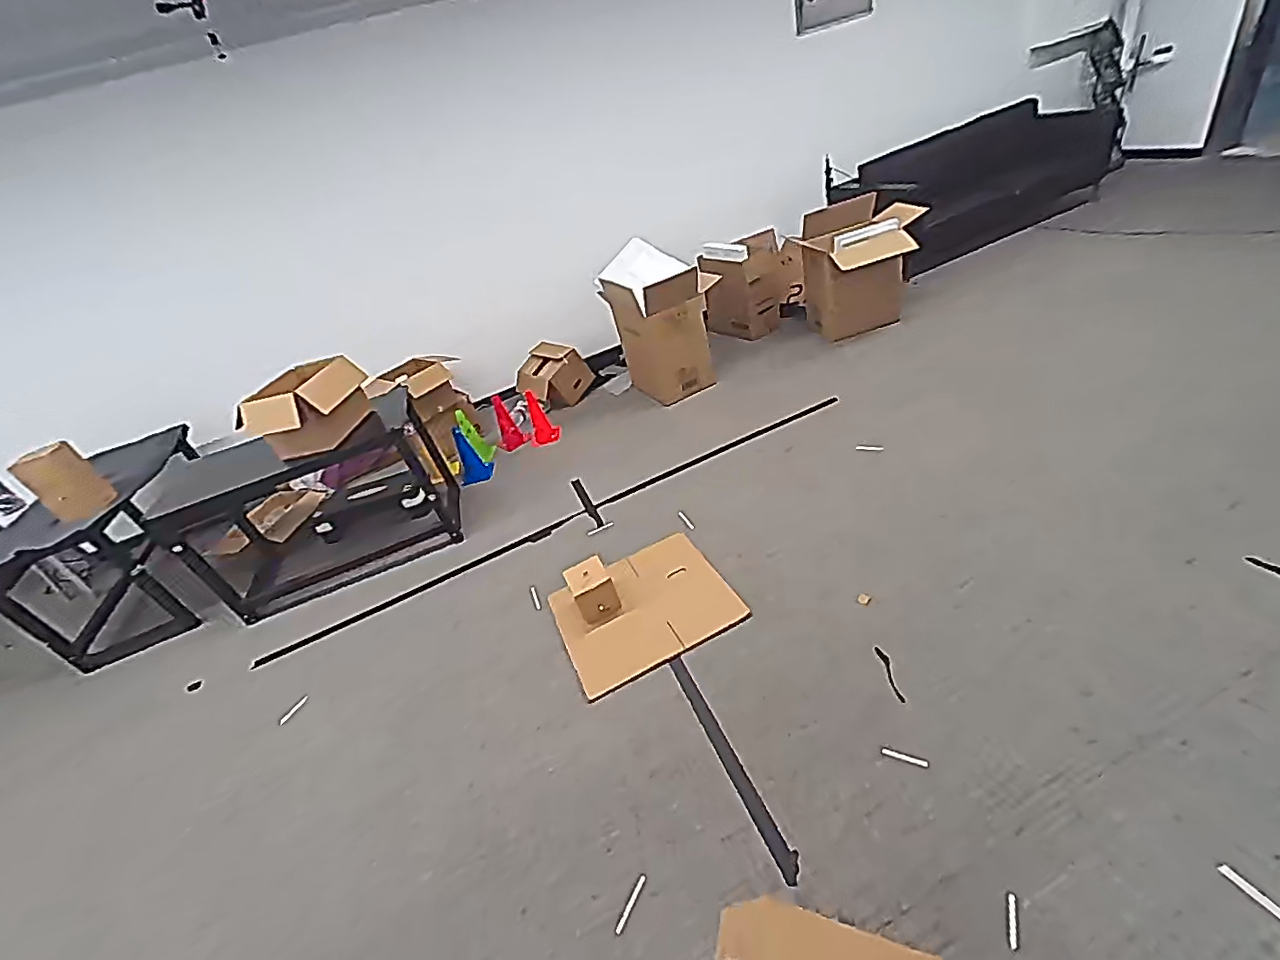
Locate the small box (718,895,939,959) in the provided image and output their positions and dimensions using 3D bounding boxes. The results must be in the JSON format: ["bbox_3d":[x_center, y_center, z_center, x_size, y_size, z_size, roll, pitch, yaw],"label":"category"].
[{"bbox_3d":[0.166,0.530,0.513,0.179,0.176,0.168,18,48,4],"label":"small box"}]

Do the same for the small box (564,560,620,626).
[{"bbox_3d":[-0.202,0.478,2.276,0.168,0.176,0.179,-26,35,-11],"label":"small box"}]
